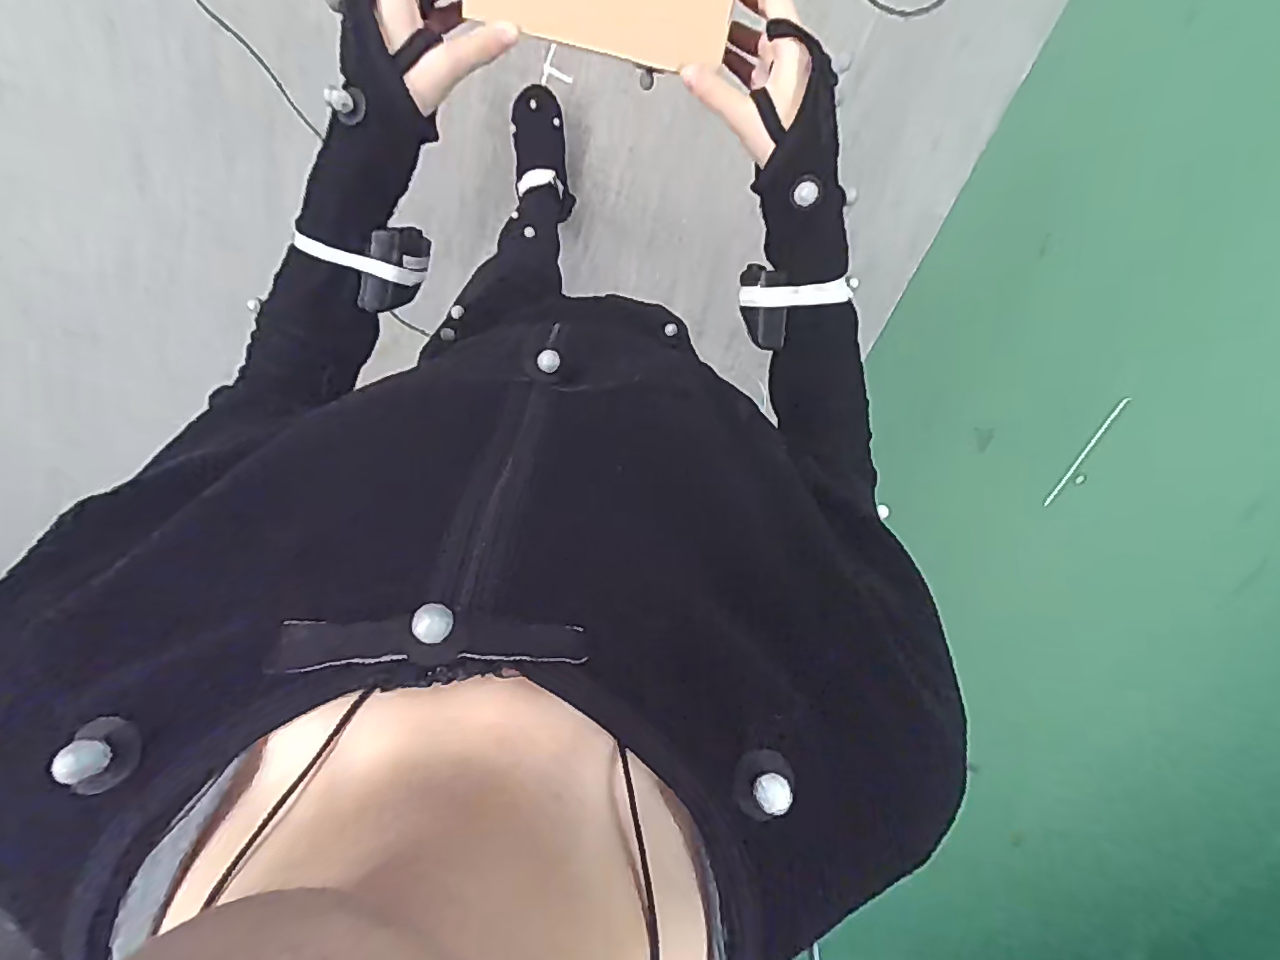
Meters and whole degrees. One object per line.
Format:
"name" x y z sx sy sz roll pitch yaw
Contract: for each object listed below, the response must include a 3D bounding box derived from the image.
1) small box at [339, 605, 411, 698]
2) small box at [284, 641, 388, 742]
"small box" -0.823 0.517 1.638 0.168 0.176 0.179 28 108 -16
"small box" -0.823 0.573 1.483 0.179 0.176 0.168 28 108 -16
